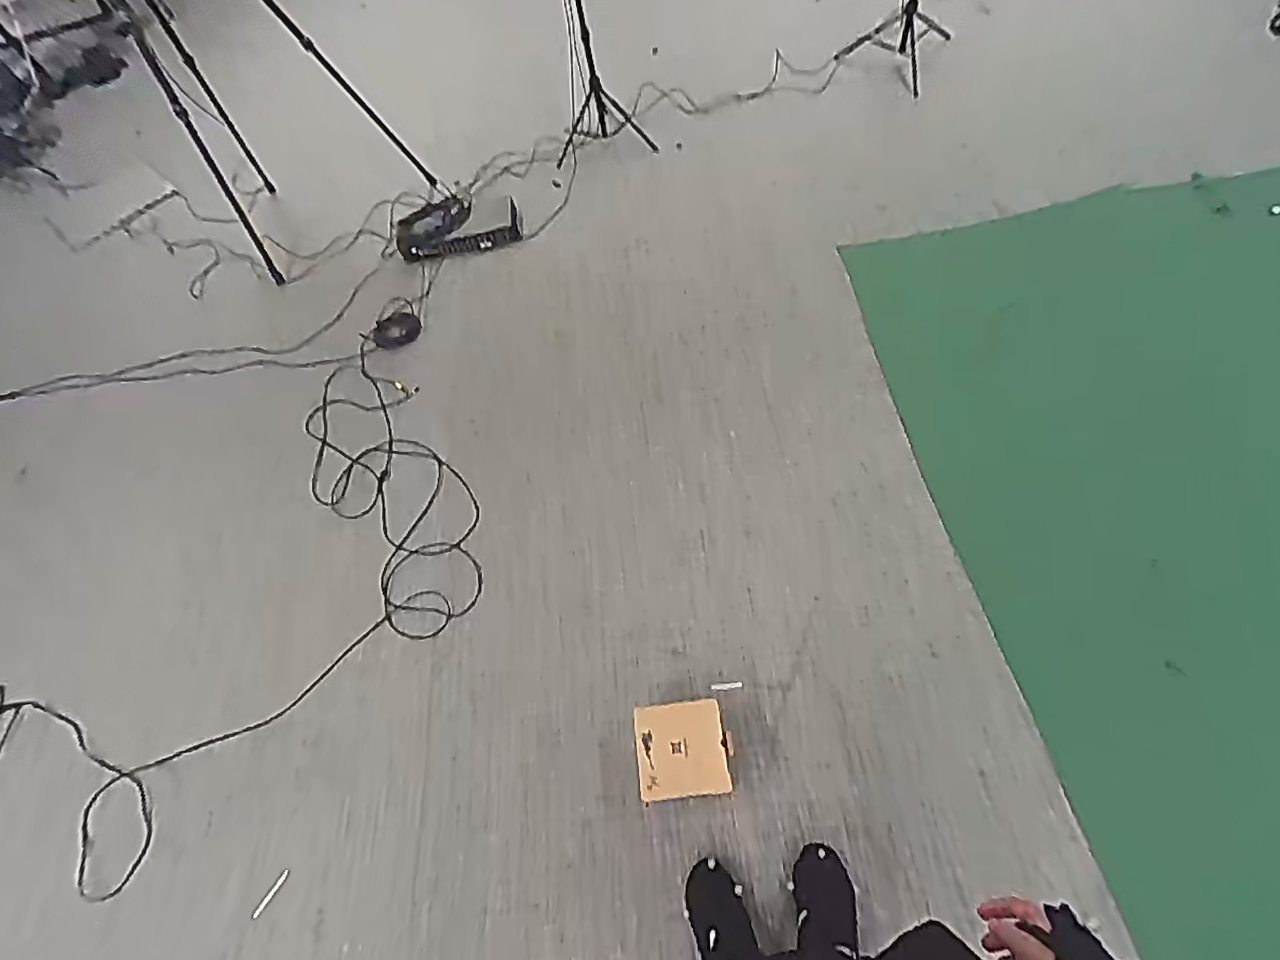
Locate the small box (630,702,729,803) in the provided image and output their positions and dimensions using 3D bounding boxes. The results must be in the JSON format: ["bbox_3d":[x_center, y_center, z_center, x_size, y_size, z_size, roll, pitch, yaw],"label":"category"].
[{"bbox_3d":[0.083,0.563,1.122,0.179,0.176,0.168,-9,61,4],"label":"small box"}]
